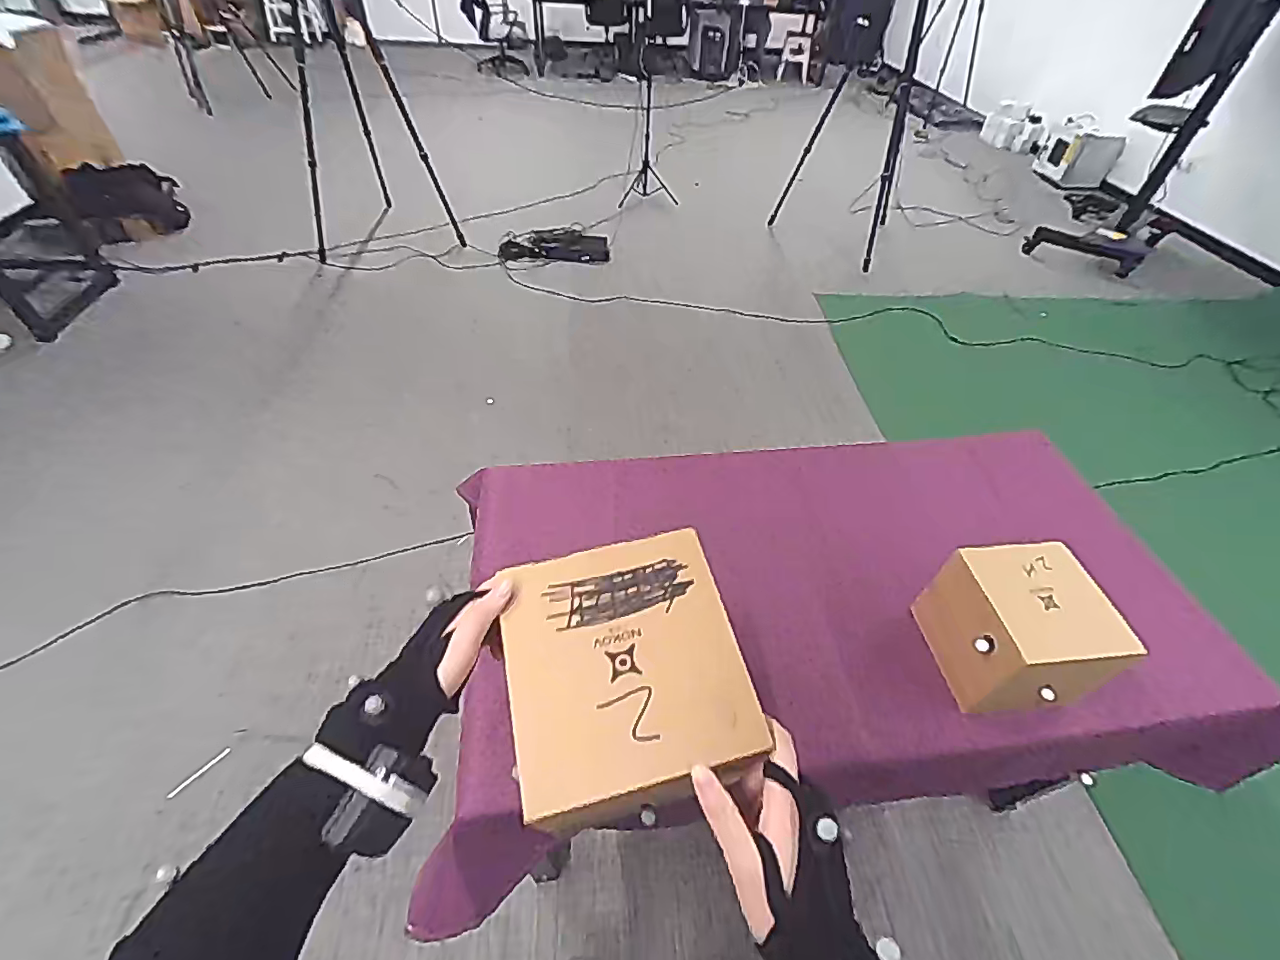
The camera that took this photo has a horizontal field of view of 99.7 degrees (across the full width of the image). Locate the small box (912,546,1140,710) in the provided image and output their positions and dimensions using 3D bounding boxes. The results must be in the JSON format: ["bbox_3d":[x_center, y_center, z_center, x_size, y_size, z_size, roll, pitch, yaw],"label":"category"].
[{"bbox_3d":[0.531,0.217,0.777,0.168,0.176,0.179,-2,47,-6],"label":"small box"}]

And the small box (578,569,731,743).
[{"bbox_3d":[0.010,0.239,0.729,0.179,0.176,0.168,-3,47,-6],"label":"small box"}]
